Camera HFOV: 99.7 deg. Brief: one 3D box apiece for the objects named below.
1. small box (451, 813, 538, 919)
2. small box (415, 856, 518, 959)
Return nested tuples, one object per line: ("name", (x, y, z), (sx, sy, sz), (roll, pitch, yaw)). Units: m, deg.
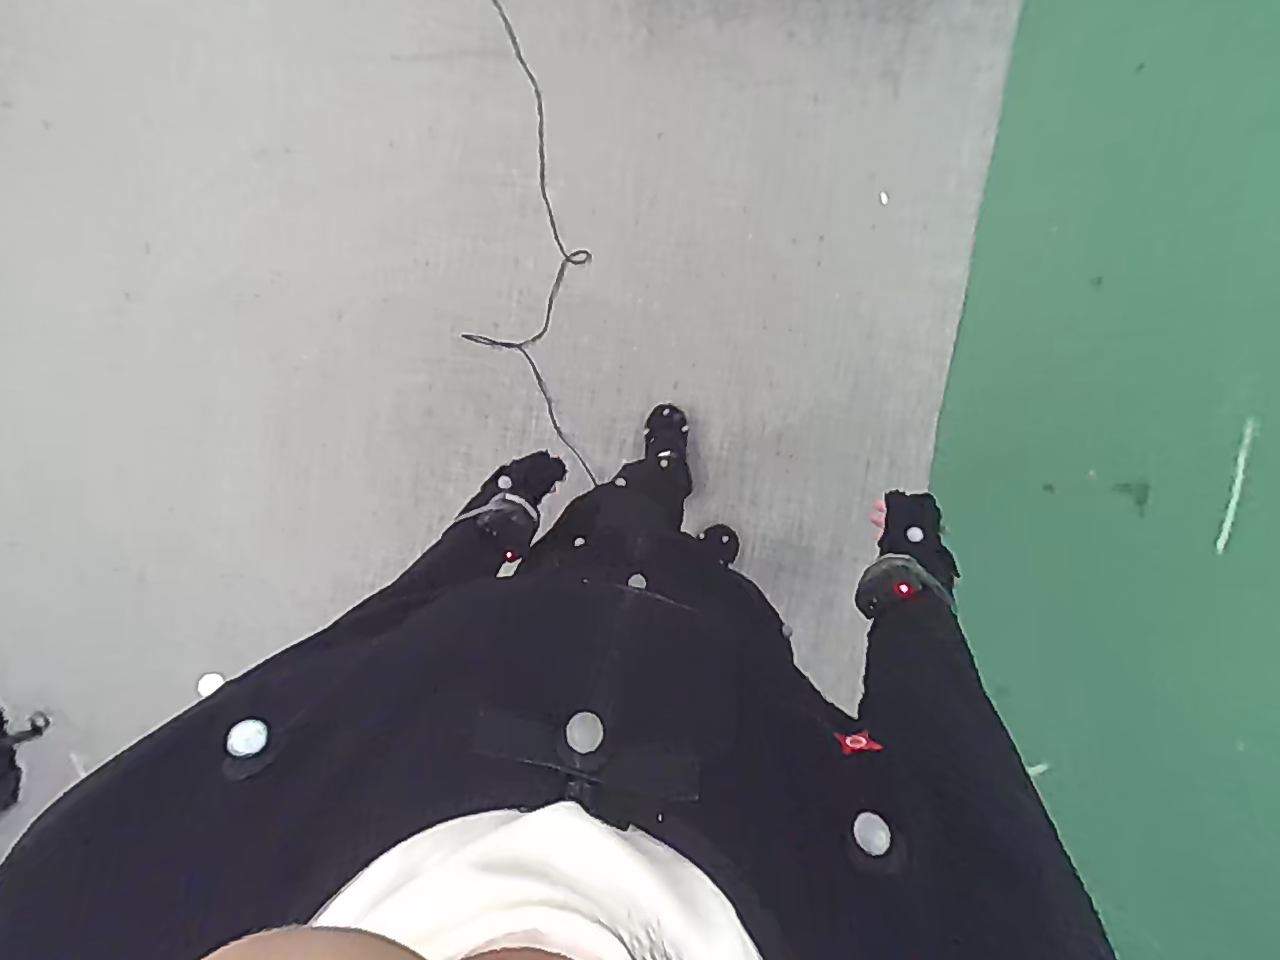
("small box", (-0.383, 1.021, 1.442), (0.179, 0.176, 0.168), (-2, 92, 6))
("small box", (-0.406, 1.029, 1.283), (0.179, 0.176, 0.168), (-4, 90, 7))
